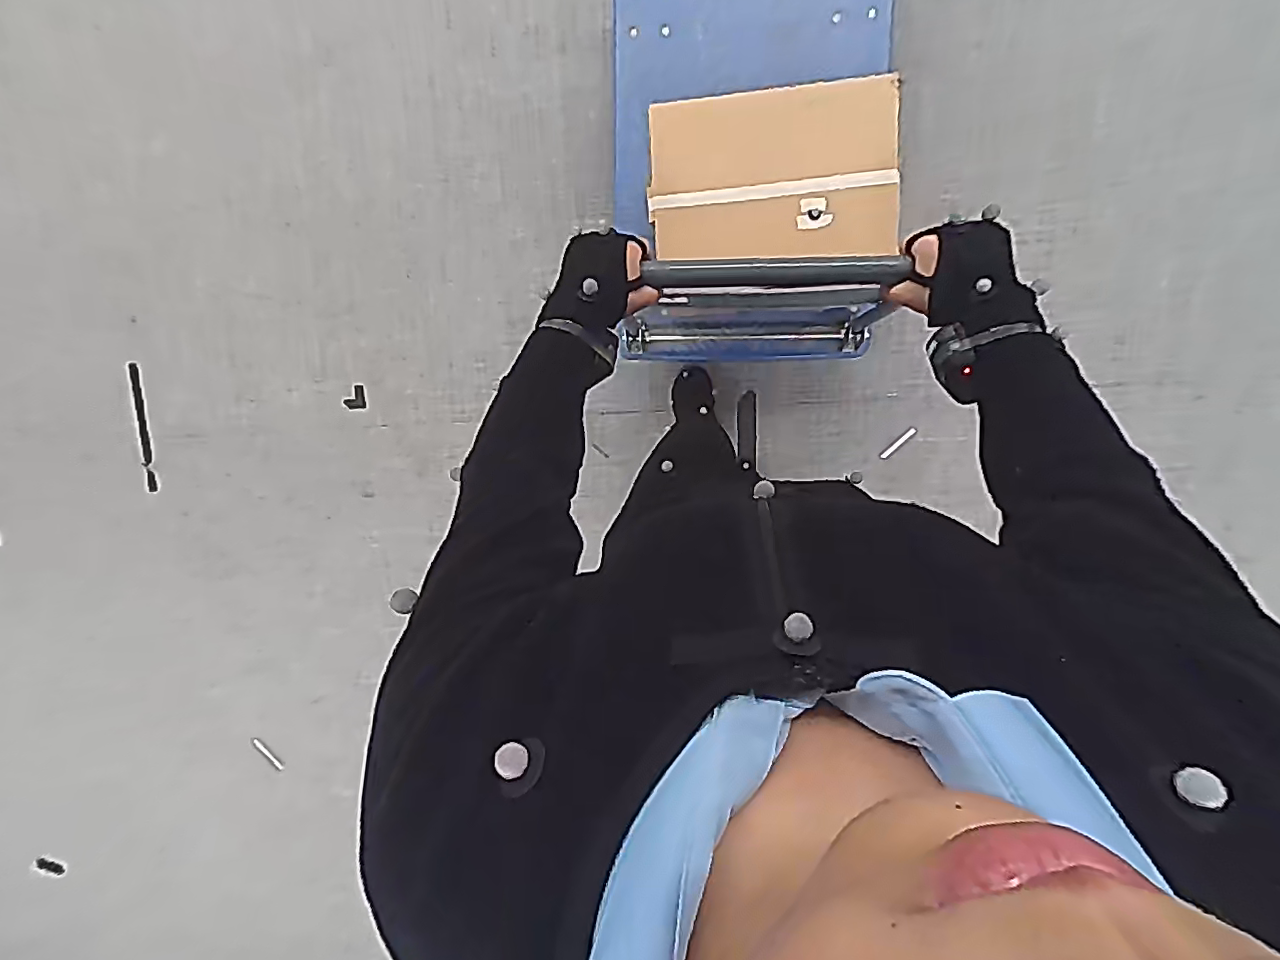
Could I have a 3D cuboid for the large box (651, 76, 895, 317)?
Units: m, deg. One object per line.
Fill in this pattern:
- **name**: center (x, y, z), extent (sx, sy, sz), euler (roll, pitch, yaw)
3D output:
- **large box**: center (0.240, -0.518, 1.069), extent (0.408, 0.320, 0.320), euler (-3, 100, 6)
